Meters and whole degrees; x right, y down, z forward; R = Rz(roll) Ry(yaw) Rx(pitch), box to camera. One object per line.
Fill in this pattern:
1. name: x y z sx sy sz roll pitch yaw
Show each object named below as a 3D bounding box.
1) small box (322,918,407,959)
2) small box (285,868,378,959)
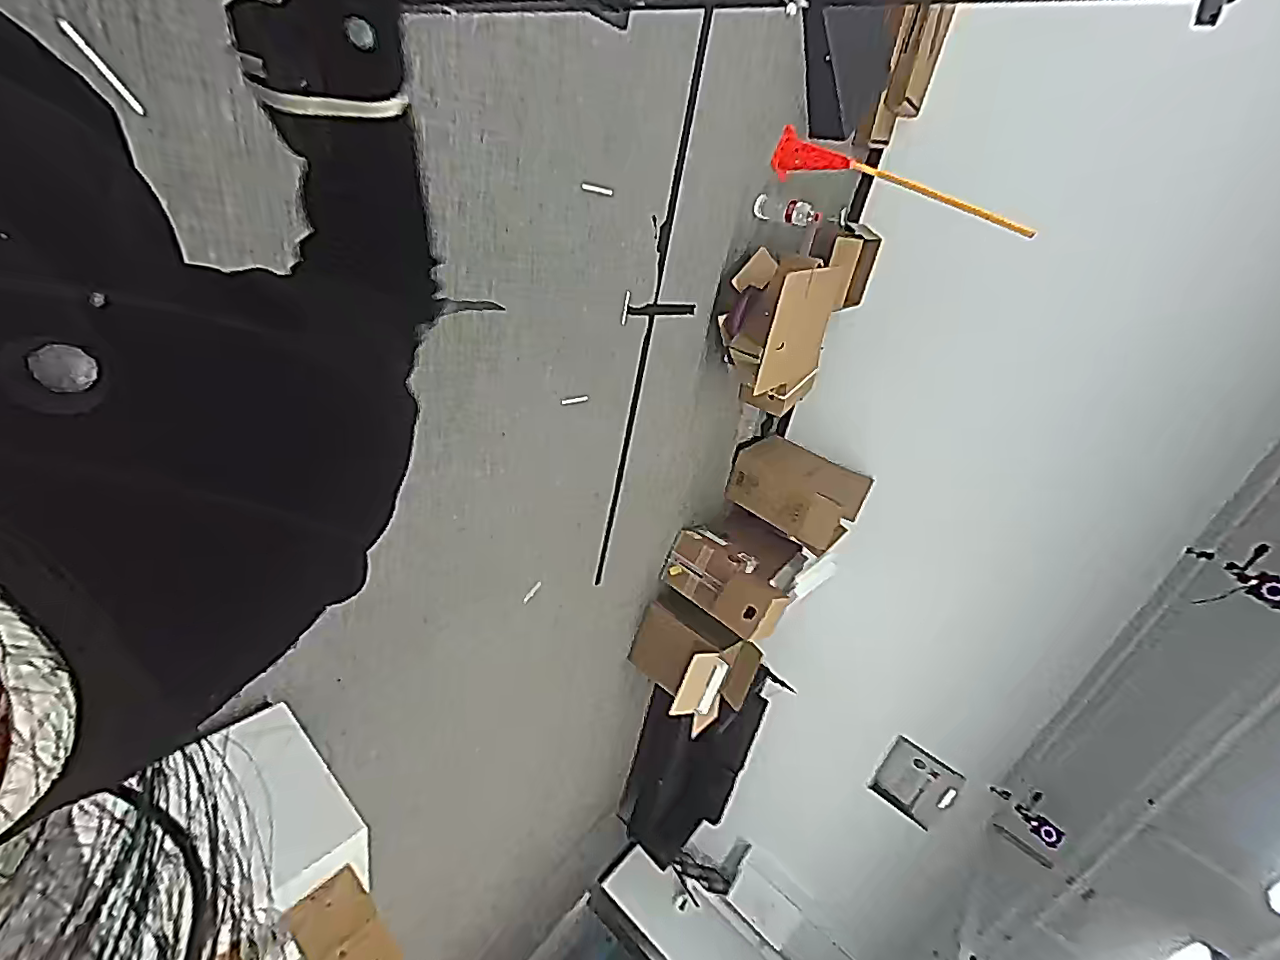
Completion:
1. small box: -0.706 1.273 1.374 0.168 0.176 0.179 -21 134 -47
2. small box: -0.827 1.205 1.457 0.168 0.176 0.179 -23 134 -47
